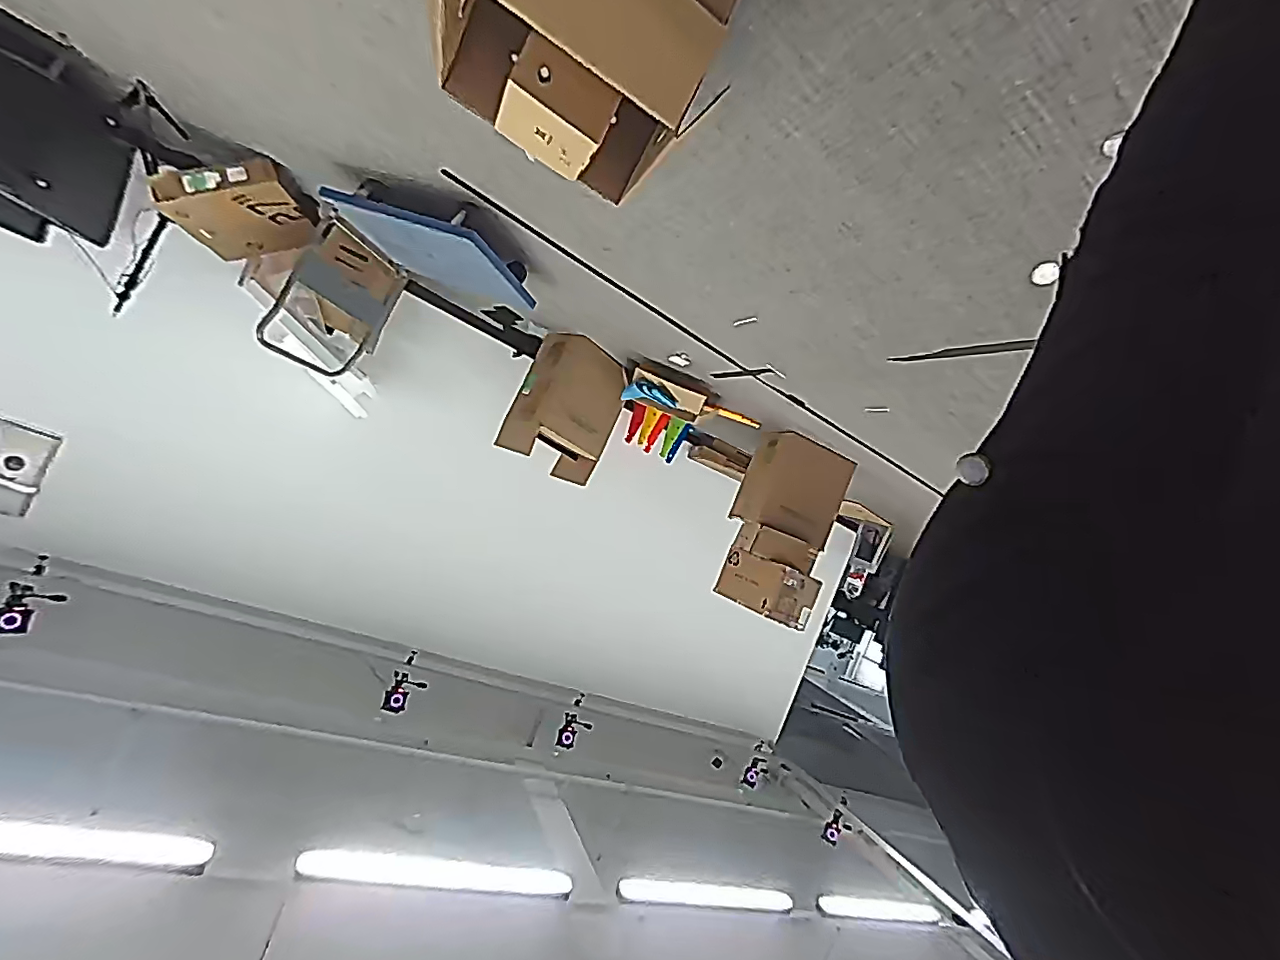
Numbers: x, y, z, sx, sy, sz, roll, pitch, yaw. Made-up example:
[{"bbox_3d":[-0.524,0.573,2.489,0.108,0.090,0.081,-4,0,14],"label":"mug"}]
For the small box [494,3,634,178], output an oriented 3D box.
[{"bbox_3d":[-0.140,-0.706,0.987,0.179,0.176,0.168,25,176,-24],"label":"small box"}]
